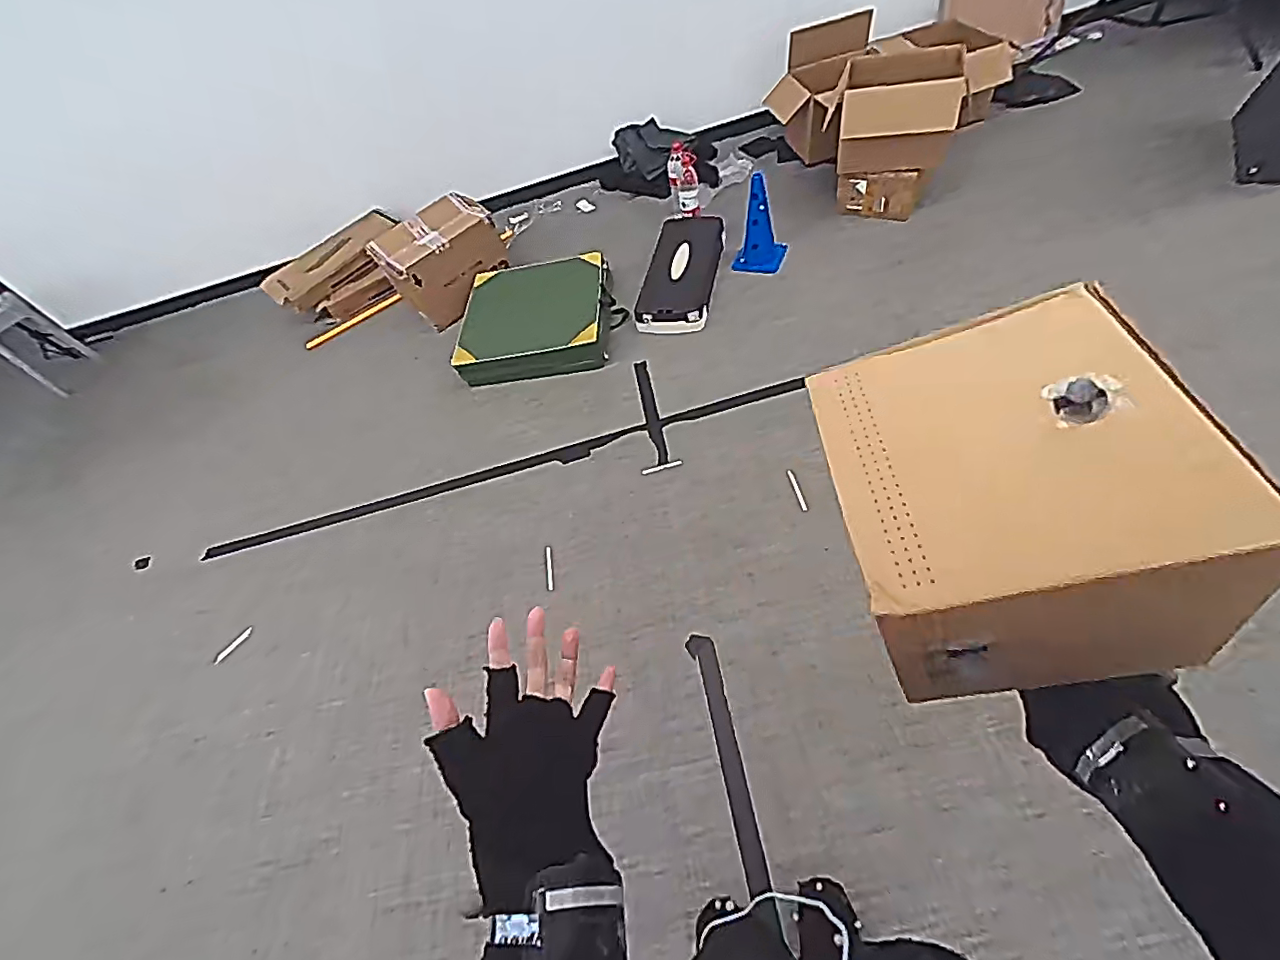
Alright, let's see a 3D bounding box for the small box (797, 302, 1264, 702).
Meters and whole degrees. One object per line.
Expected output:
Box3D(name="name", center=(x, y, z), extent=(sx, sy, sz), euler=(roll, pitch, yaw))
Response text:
Box3D(name="small box", center=(0.213, 0.026, 0.353), extent=(0.176, 0.168, 0.179), euler=(-19, 49, 22))
